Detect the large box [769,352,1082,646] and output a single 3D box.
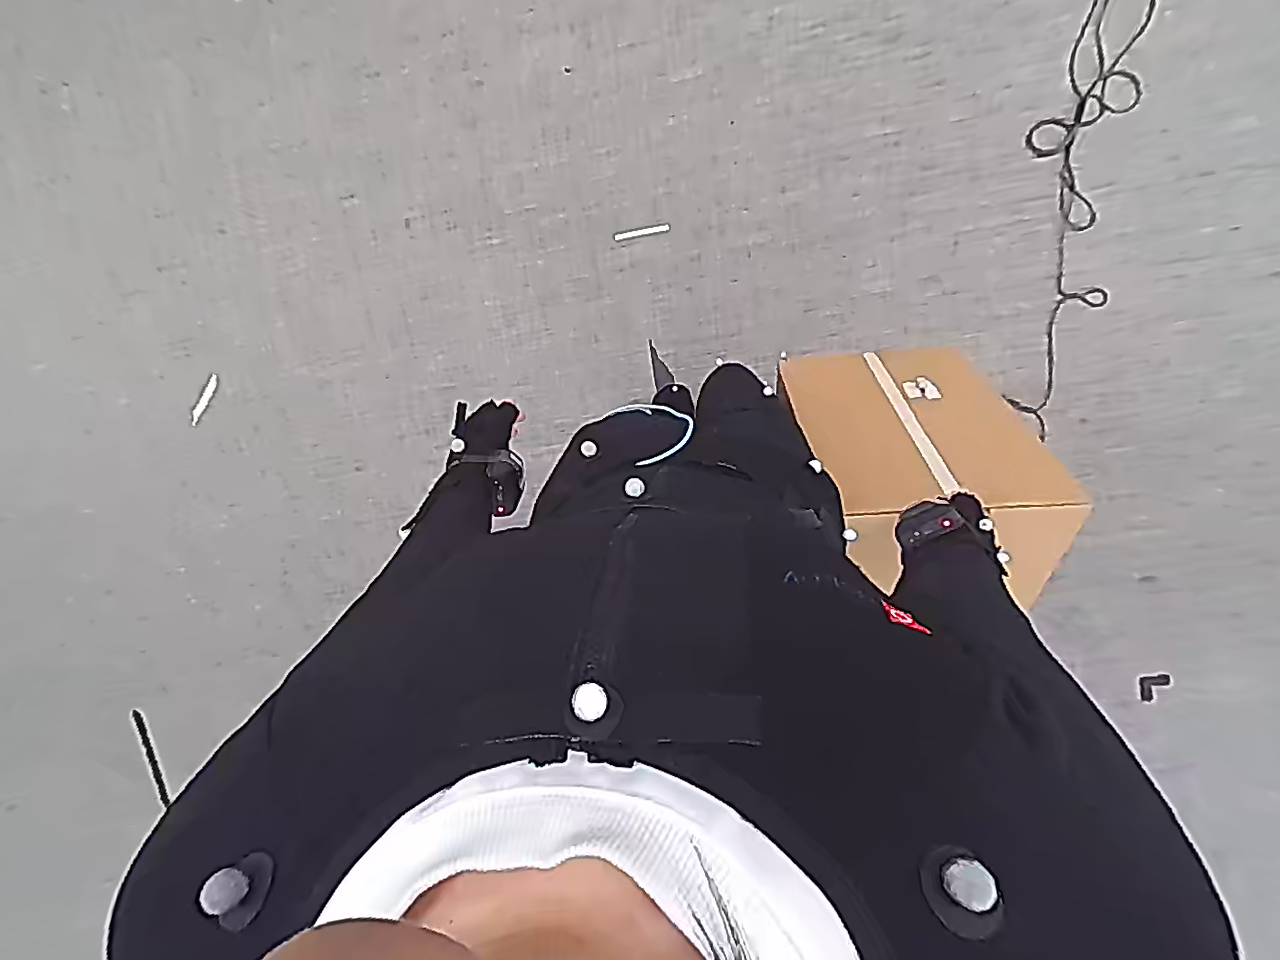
[{"bbox_3d":[0.413,0.021,0.919,0.320,0.408,0.320,-2,129,4],"label":"large box"}]
